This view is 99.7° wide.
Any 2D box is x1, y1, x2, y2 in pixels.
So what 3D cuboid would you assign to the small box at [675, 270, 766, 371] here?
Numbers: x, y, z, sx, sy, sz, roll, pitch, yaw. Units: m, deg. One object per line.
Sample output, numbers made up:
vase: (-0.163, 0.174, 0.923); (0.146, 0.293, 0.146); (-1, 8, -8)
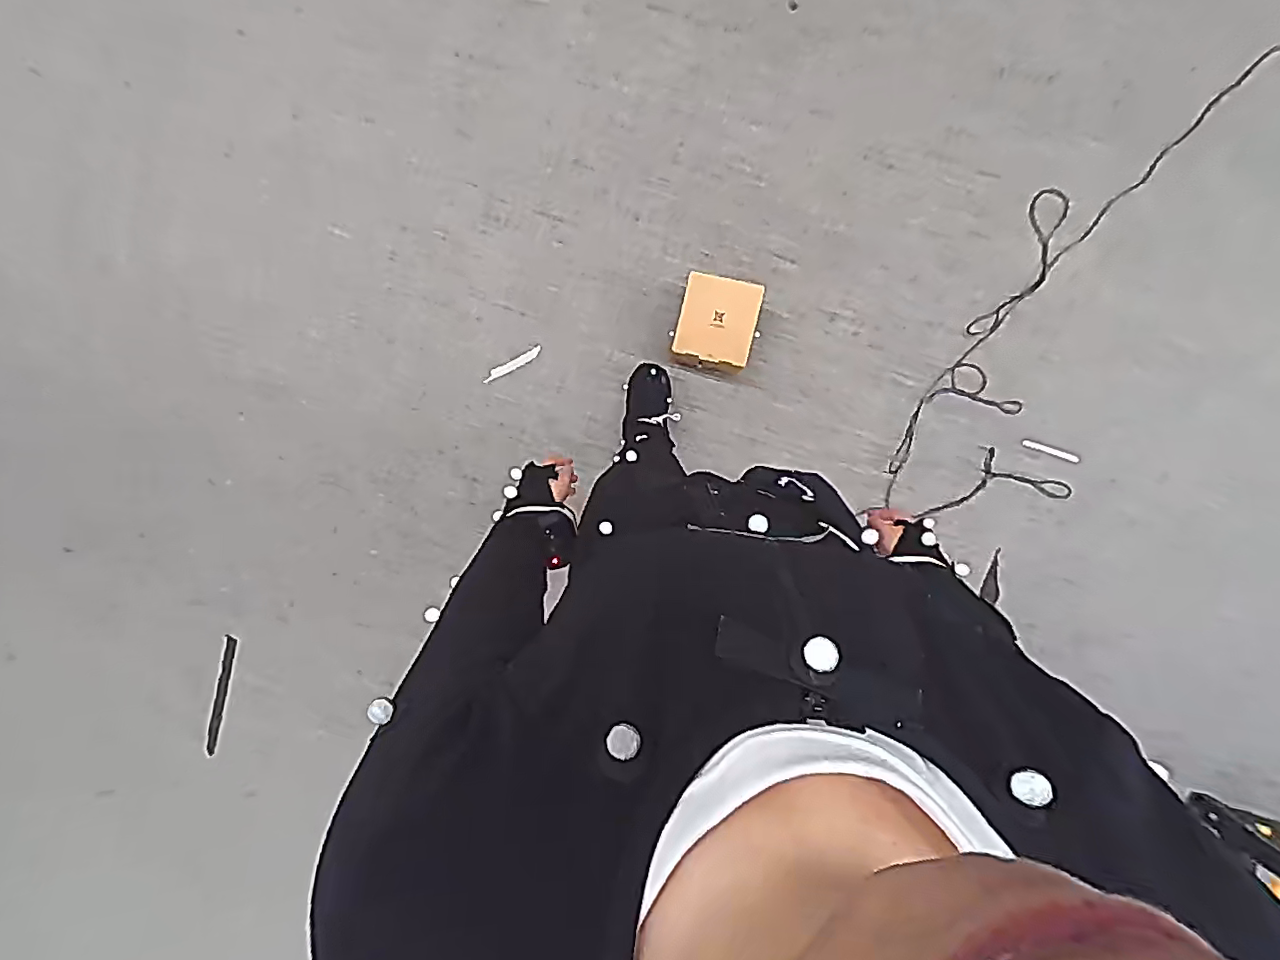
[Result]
small box: (0.175, -0.355, 1.235); (0.168, 0.176, 0.179); (12, 98, 2)
